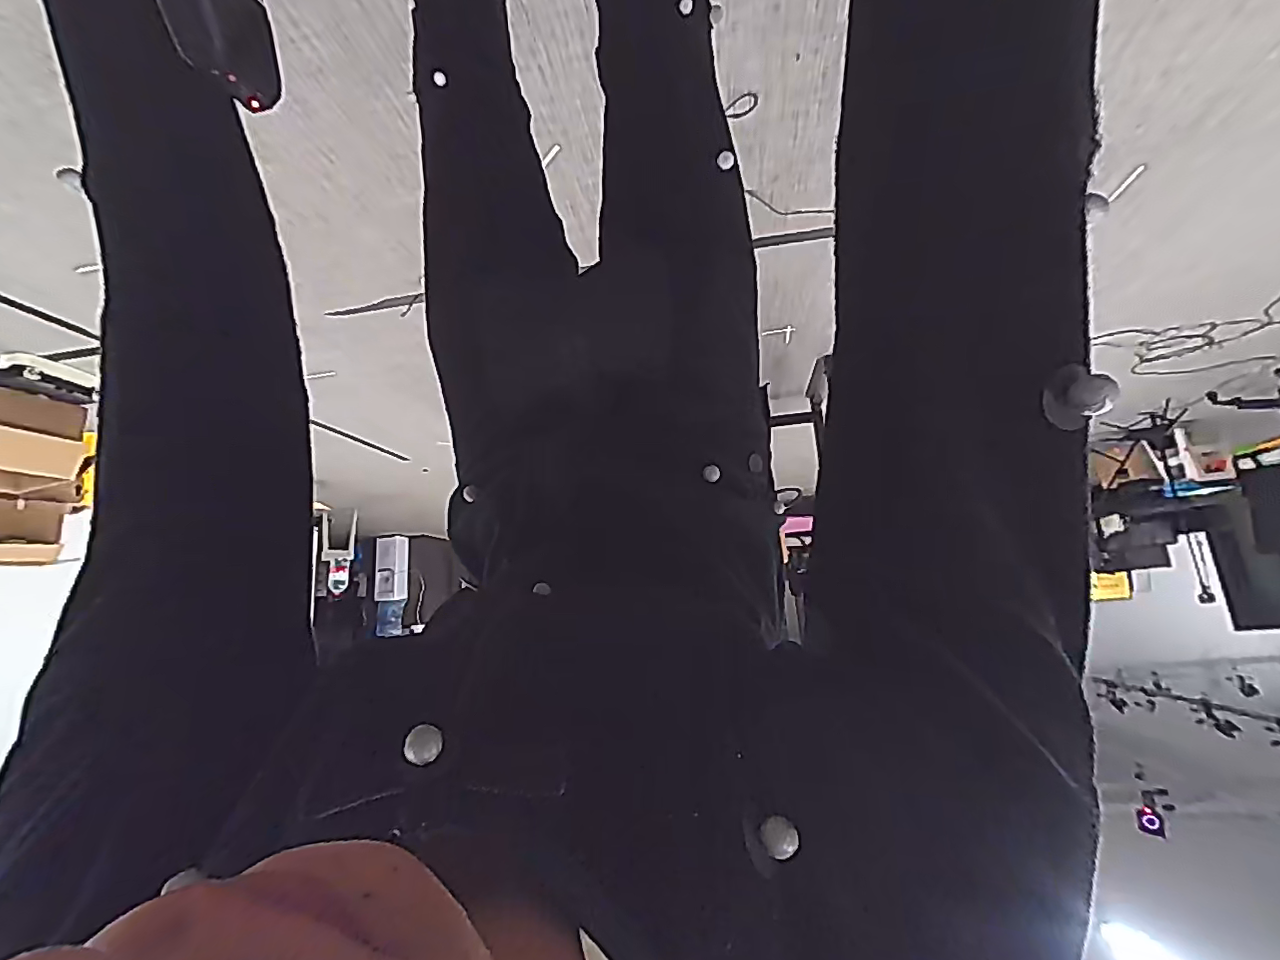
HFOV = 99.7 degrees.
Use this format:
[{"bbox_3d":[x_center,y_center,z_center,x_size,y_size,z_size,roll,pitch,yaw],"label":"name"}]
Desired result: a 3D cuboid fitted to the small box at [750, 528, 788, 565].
[{"bbox_3d":[0.646,0.336,2.719,0.168,0.176,0.179,-7,166,11],"label":"small box"}]
